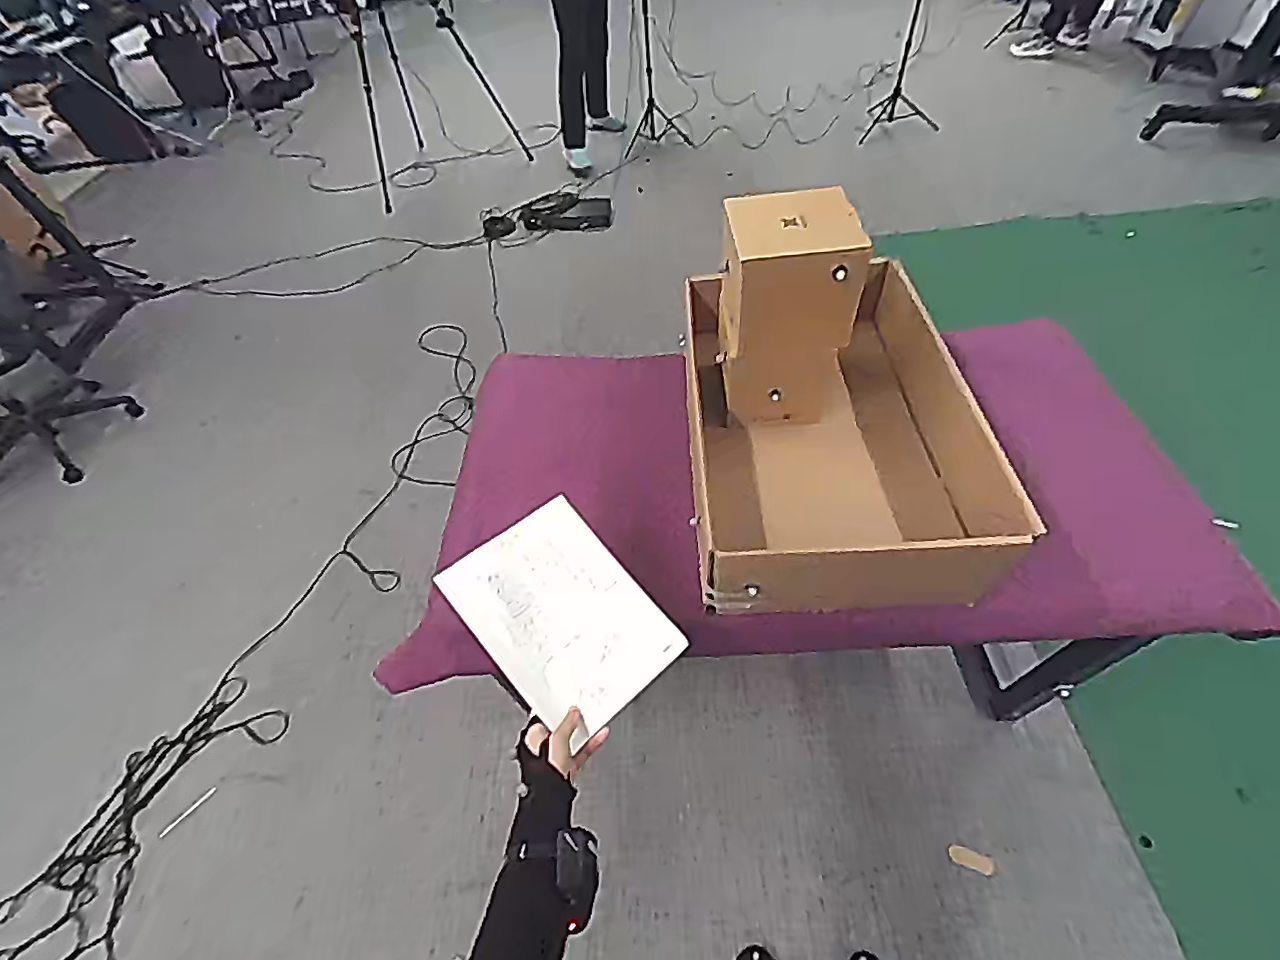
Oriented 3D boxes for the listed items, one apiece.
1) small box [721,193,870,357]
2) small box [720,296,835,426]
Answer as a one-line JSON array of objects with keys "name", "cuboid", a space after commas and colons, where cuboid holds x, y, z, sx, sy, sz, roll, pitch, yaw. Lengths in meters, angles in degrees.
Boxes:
[{"name": "small box", "cuboid": [0.219, -0.303, 0.816, 0.179, 0.176, 0.168, -5, 53, 3]}, {"name": "small box", "cuboid": [0.229, -0.207, 0.946, 0.168, 0.176, 0.179, -3, 53, 4]}]
